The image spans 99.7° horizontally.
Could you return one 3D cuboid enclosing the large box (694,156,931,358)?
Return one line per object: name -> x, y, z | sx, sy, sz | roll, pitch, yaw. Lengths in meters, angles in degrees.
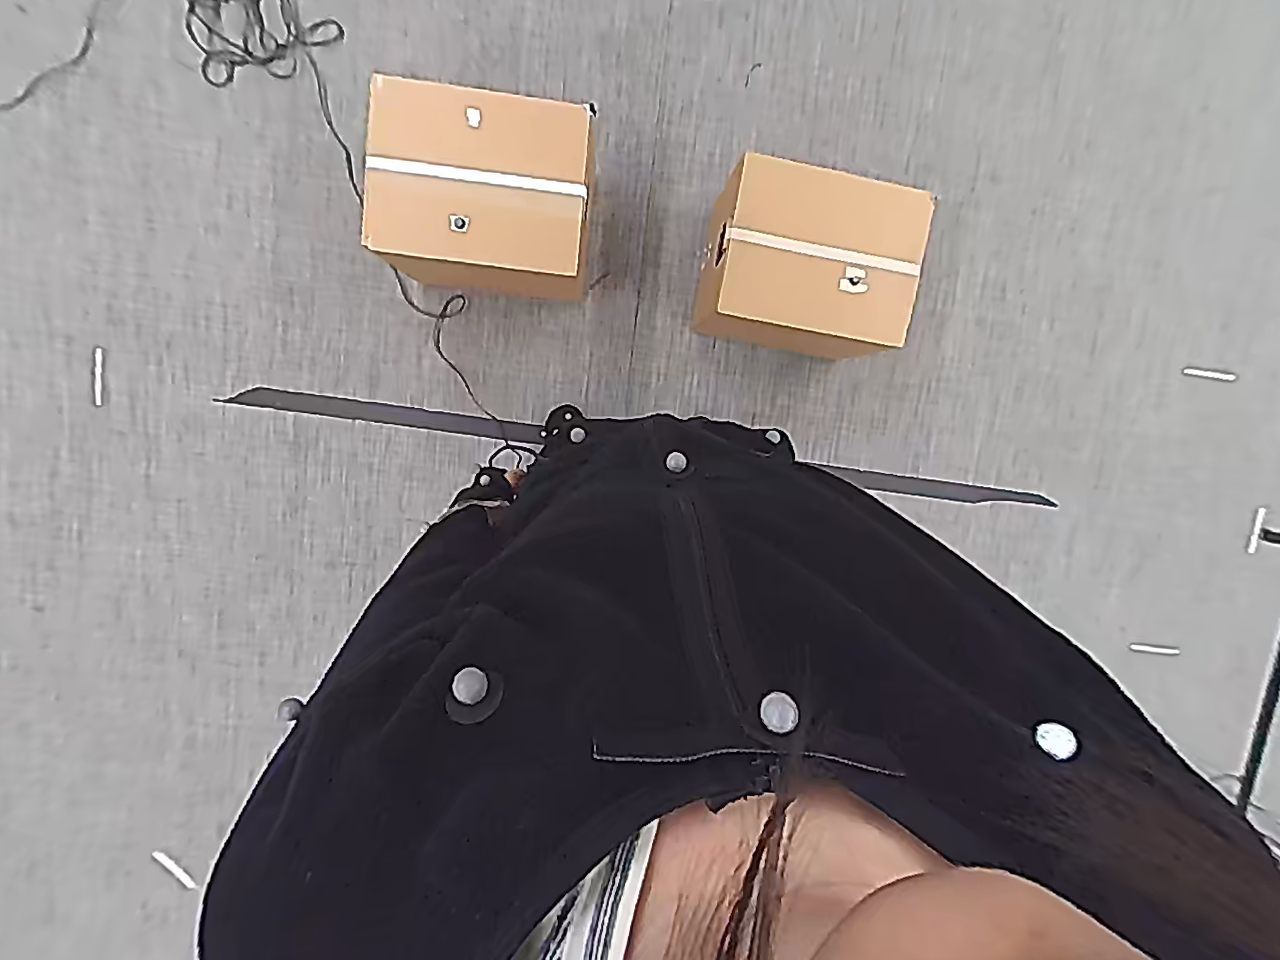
large box -> 0.365, -0.481, 1.247 | 0.408, 0.320, 0.320 | 9, 97, -6
